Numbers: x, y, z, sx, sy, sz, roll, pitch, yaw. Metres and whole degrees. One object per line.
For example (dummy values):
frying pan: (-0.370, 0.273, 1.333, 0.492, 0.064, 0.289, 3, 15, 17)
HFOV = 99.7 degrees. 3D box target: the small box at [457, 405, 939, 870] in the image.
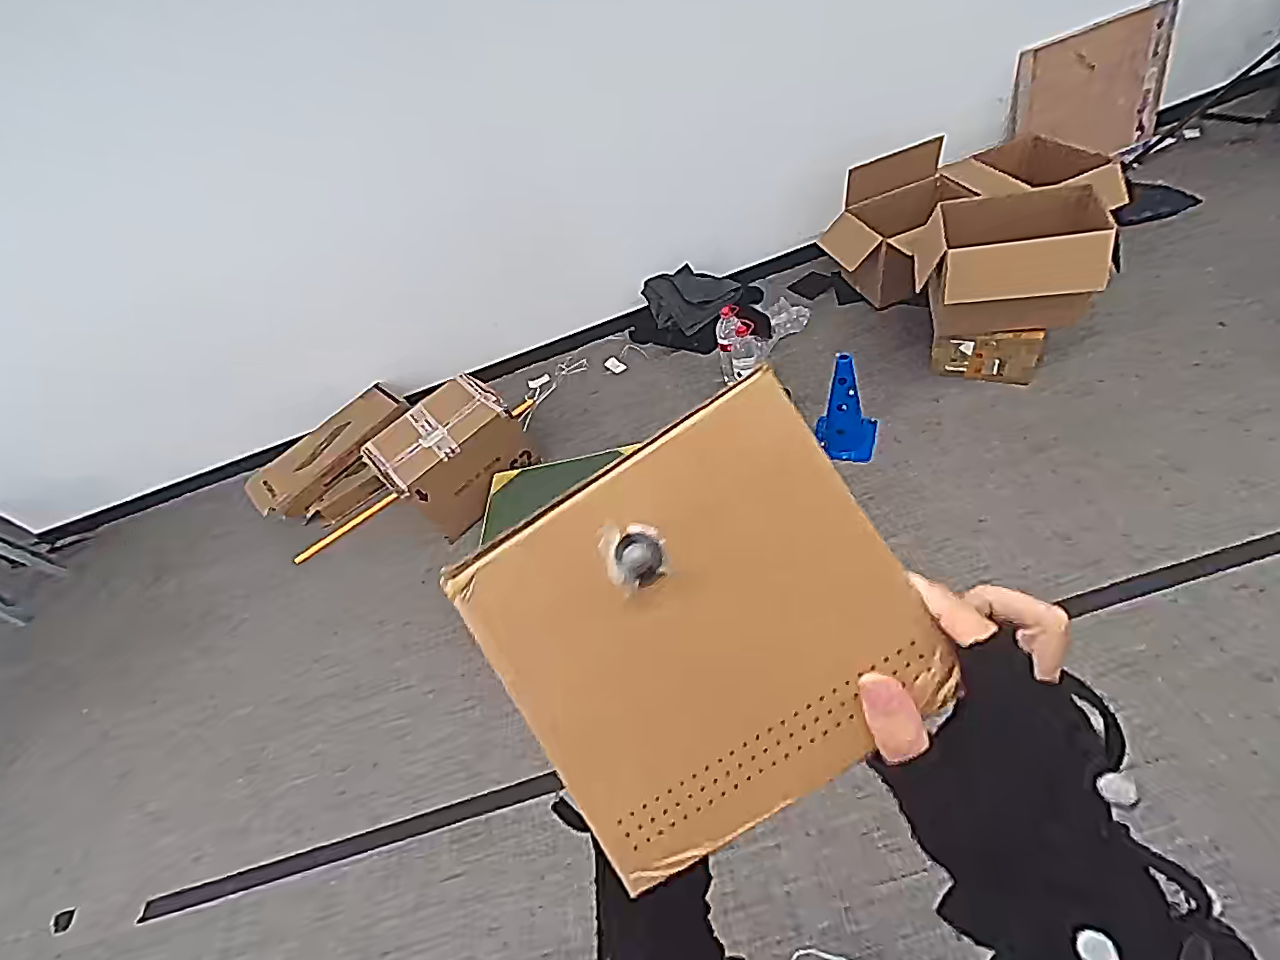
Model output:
small box: (0.033, 0.081, 0.331, 0.179, 0.168, 0.176, -33, 87, 5)
